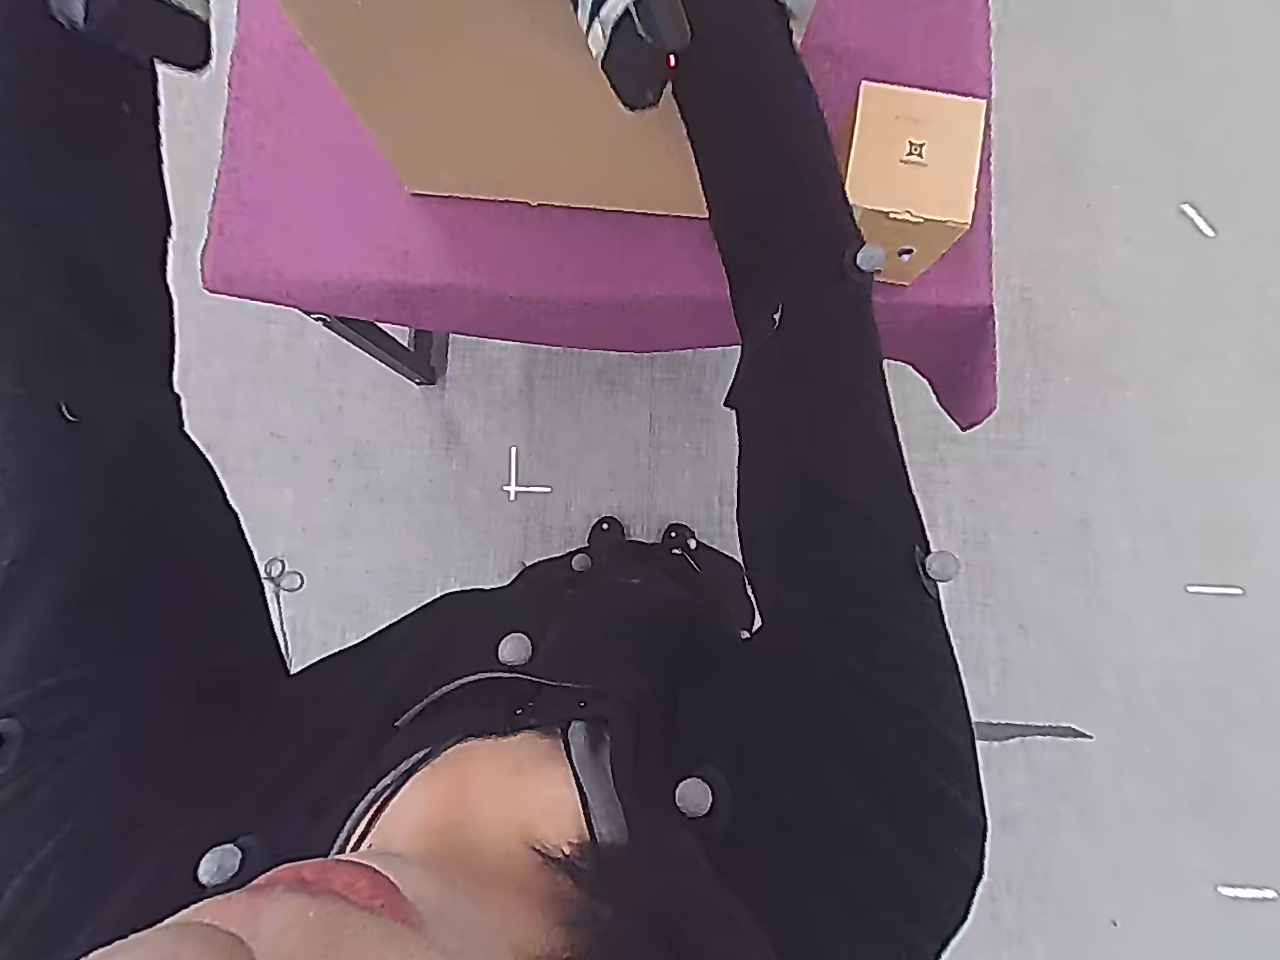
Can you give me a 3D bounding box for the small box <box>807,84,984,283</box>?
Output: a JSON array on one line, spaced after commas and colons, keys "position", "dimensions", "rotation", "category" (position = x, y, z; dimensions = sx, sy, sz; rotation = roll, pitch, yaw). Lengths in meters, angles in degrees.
[{"position": [0.348, -0.406, 0.769], "dimensions": [0.168, 0.176, 0.179], "rotation": [10, 83, 0], "category": "small box"}]
